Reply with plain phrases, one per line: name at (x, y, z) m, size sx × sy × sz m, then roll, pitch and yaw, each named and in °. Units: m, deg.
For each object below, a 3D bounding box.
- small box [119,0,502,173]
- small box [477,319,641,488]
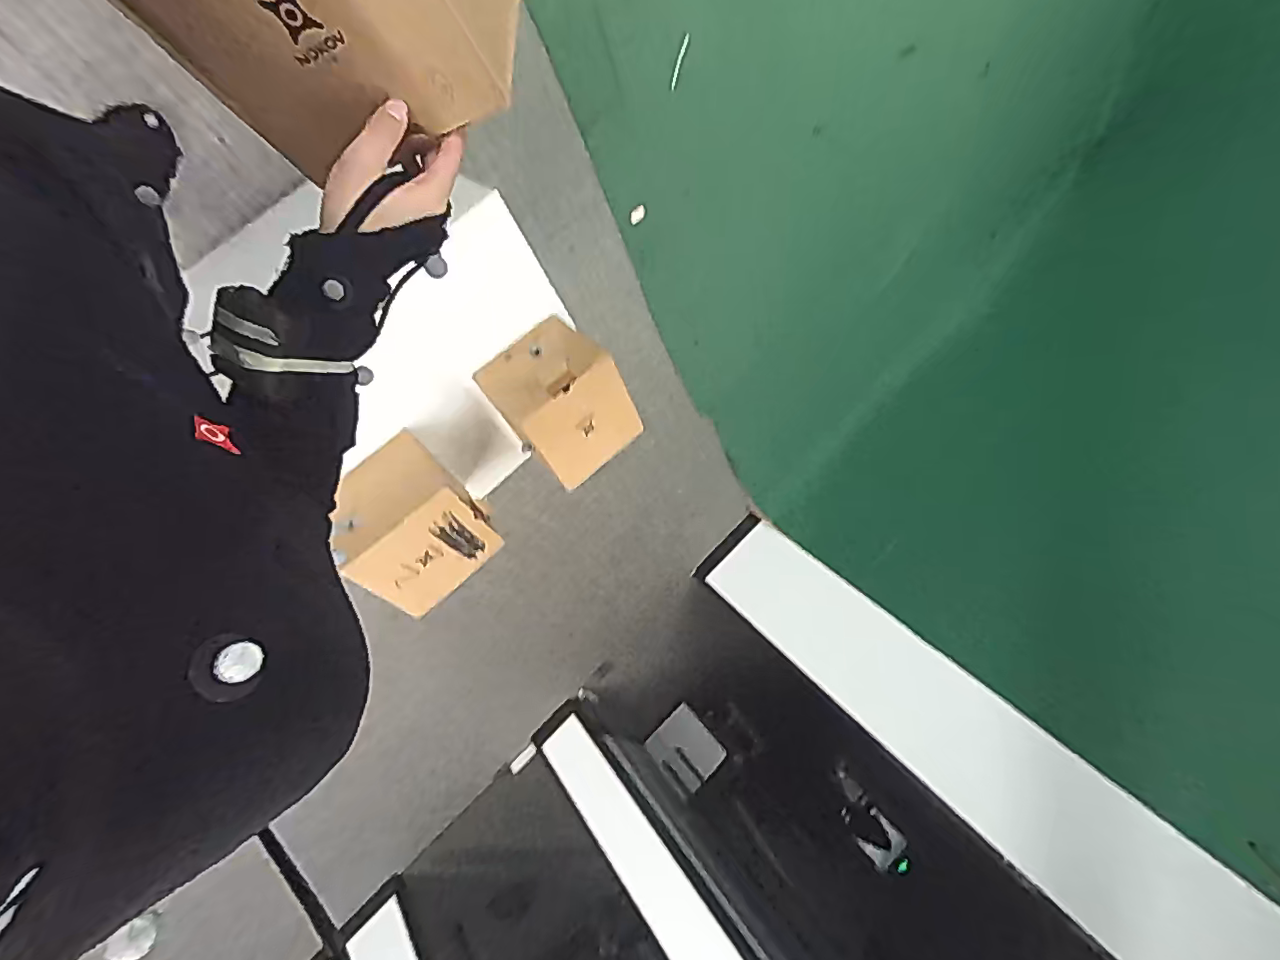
small box at (-0.193, -0.336, 0.319) m, size 0.168 × 0.176 × 0.179 m, roll -11°, pitch 158°, yaw 19°
small box at (-0.129, -0.127, 0.876) m, size 0.168 × 0.176 × 0.179 m, roll -41°, pitch 142°, yaw -10°
